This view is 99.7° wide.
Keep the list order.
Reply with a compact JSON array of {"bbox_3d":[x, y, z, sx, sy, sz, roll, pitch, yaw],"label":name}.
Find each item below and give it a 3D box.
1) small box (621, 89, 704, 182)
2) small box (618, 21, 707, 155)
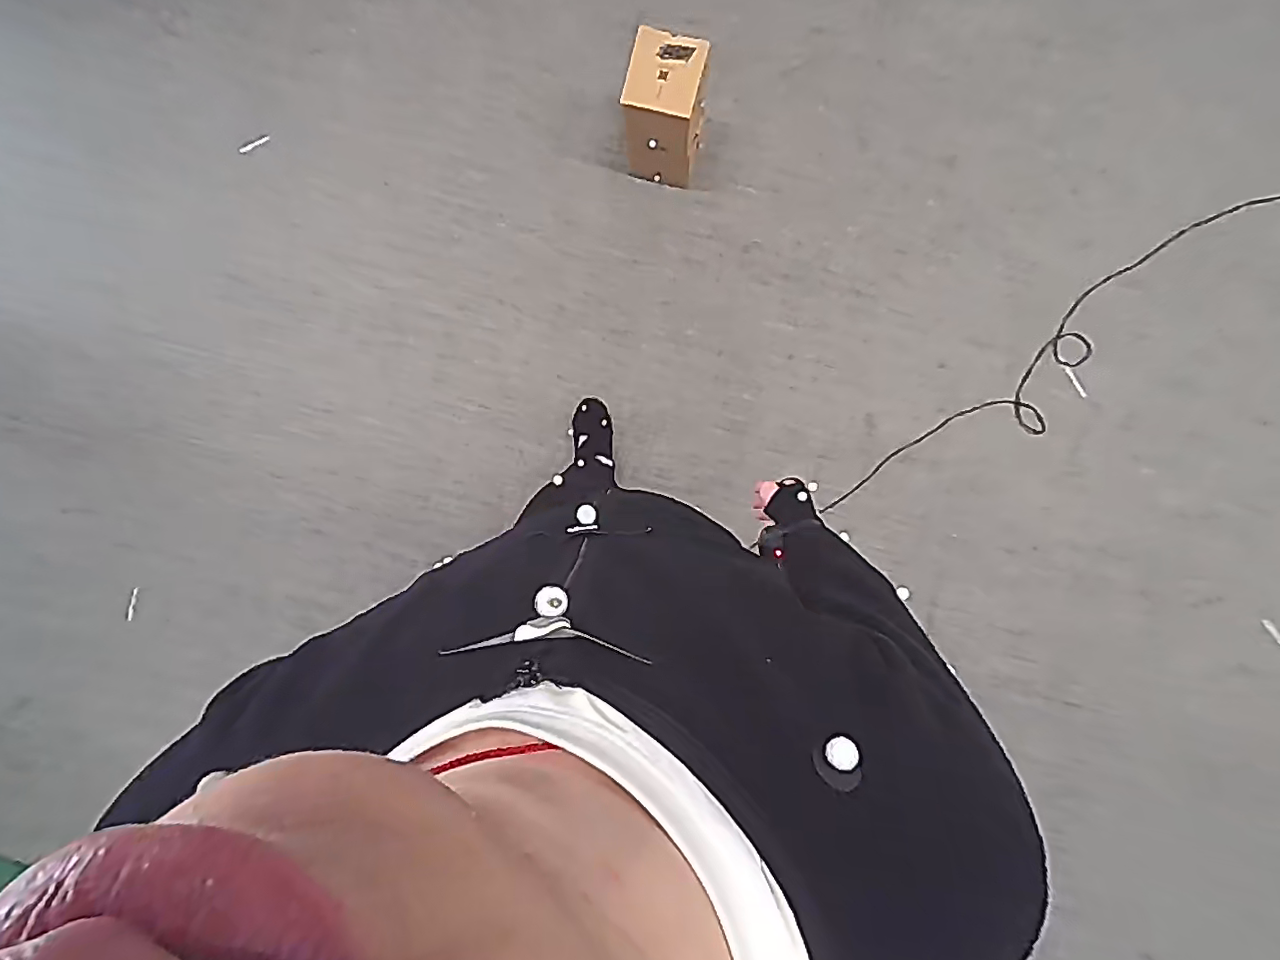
[{"bbox_3d":[0.060,-0.930,1.444,0.179,0.176,0.168,16,92,2],"label":"small box"},{"bbox_3d":[0.052,-0.918,1.279,0.168,0.176,0.179,15,93,3],"label":"small box"}]
